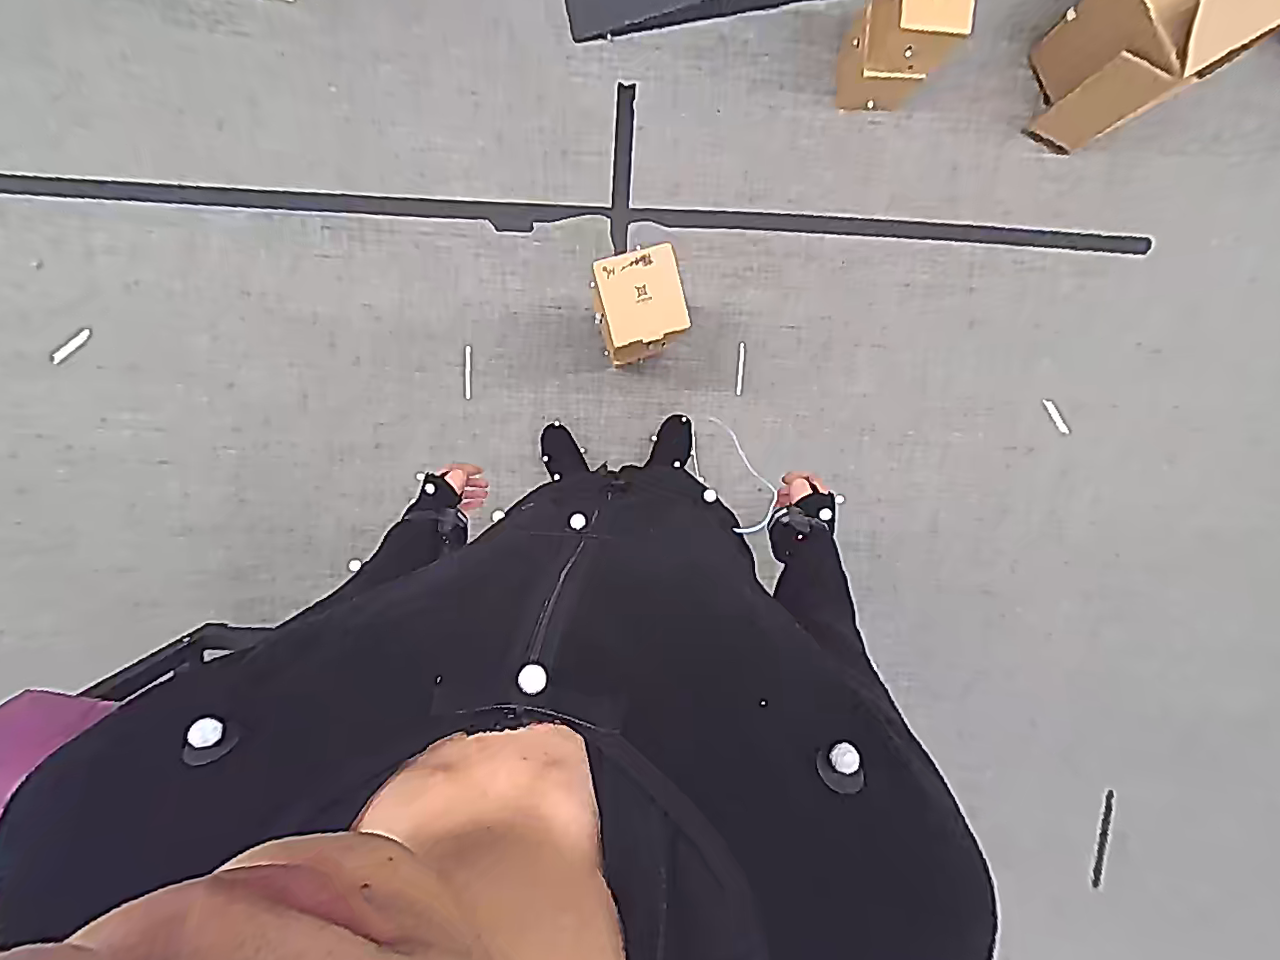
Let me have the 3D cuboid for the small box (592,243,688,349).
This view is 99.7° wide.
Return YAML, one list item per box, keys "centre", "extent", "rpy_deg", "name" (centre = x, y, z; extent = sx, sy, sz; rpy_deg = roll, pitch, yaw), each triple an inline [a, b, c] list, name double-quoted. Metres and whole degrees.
- centre: [-0.001, -0.389, 1.176]
  extent: [0.168, 0.176, 0.179]
  rpy_deg: [-15, 100, -2]
  name: "small box"
